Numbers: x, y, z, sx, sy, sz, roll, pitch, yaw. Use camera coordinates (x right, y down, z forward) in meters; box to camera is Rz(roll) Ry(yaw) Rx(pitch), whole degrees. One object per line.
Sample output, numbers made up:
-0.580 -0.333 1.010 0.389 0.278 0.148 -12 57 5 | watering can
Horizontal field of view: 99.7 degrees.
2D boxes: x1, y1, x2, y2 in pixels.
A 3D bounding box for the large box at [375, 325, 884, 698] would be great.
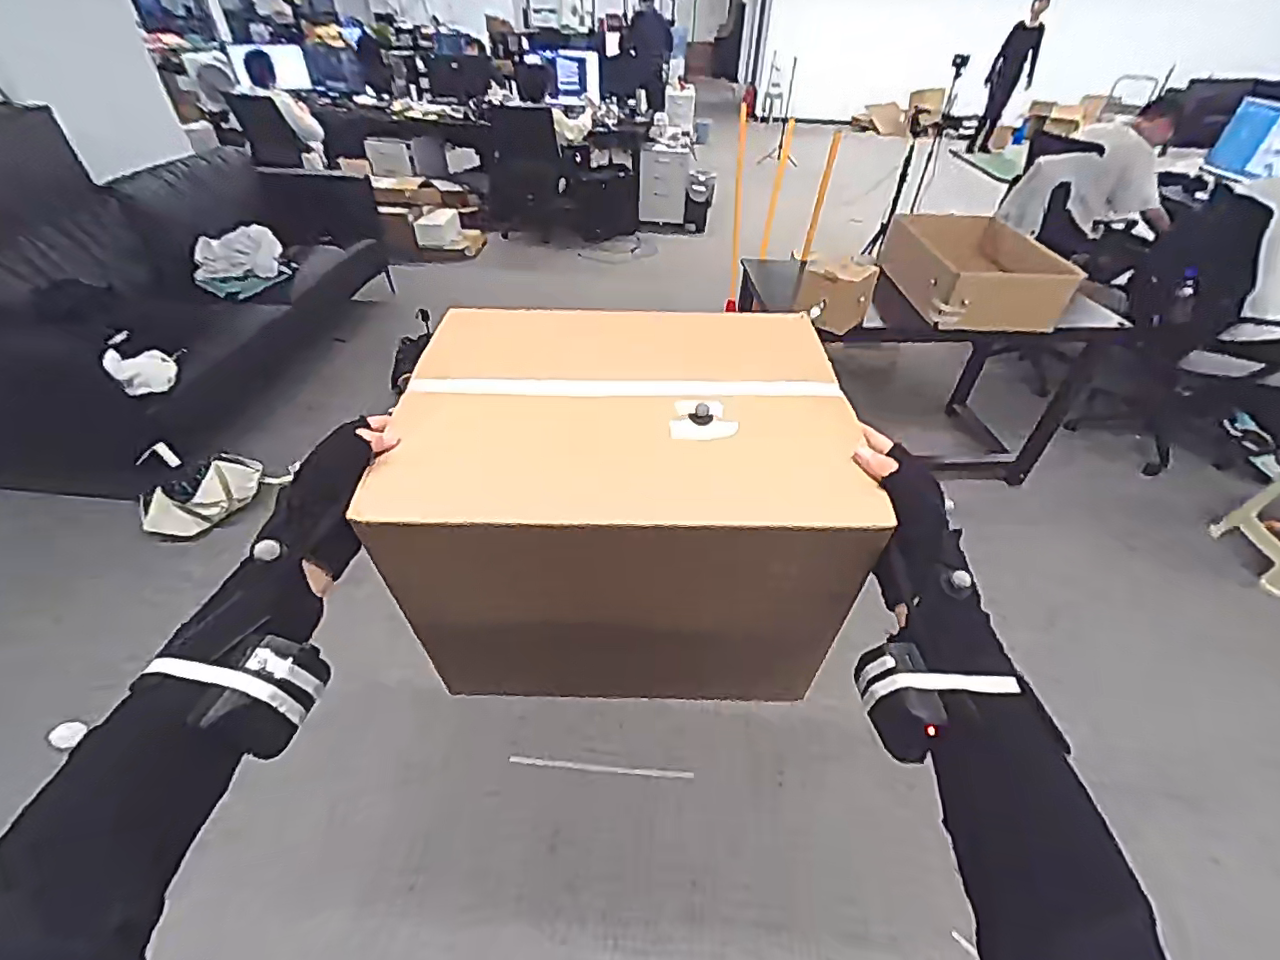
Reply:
-0.013 0.037 0.622 0.408 0.320 0.320 1 45 -1 | large box
